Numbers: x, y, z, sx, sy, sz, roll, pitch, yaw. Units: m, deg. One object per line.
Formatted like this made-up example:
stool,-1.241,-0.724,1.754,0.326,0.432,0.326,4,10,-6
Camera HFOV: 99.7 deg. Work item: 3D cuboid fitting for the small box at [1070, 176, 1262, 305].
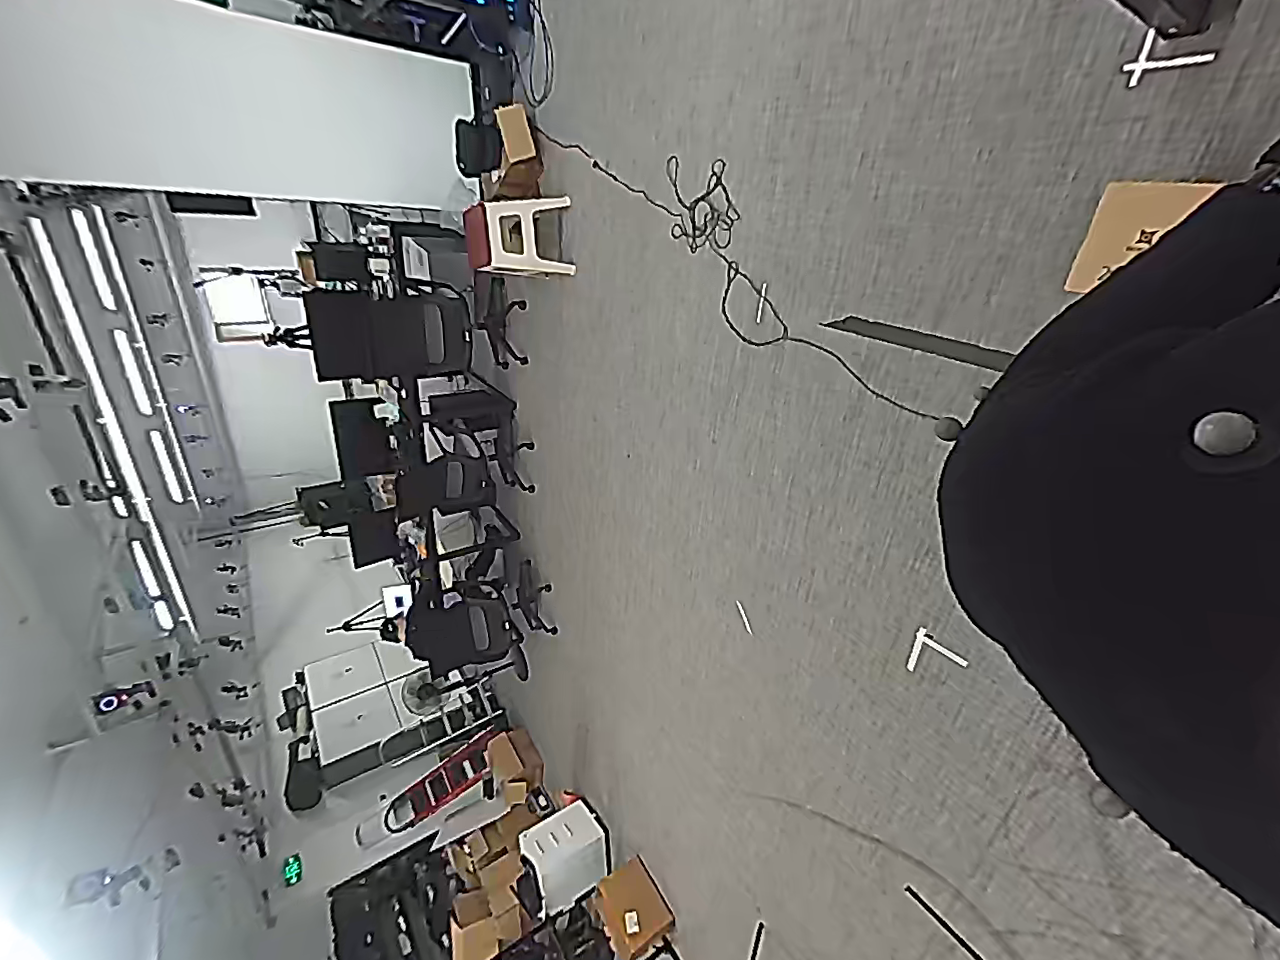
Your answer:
small box,0.880,-0.401,0.907,0.168,0.176,0.179,36,131,45
